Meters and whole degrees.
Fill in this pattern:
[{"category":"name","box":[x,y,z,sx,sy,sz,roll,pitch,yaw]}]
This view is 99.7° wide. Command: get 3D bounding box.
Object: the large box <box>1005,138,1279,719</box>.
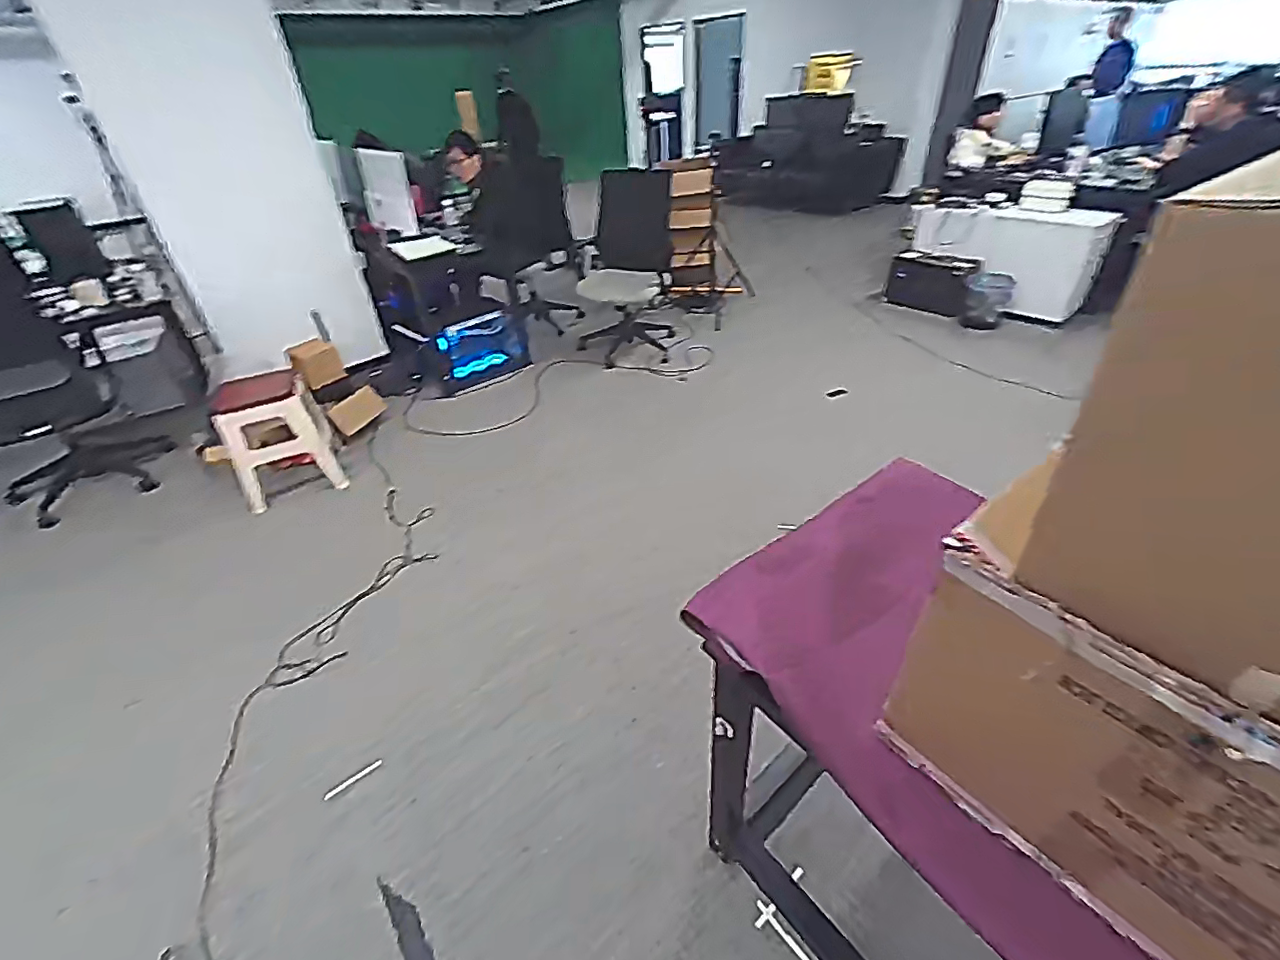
[{"category":"large box","box":[0.552,-0.055,0.389,0.408,0.320,0.320,-28,38,-28]}]
